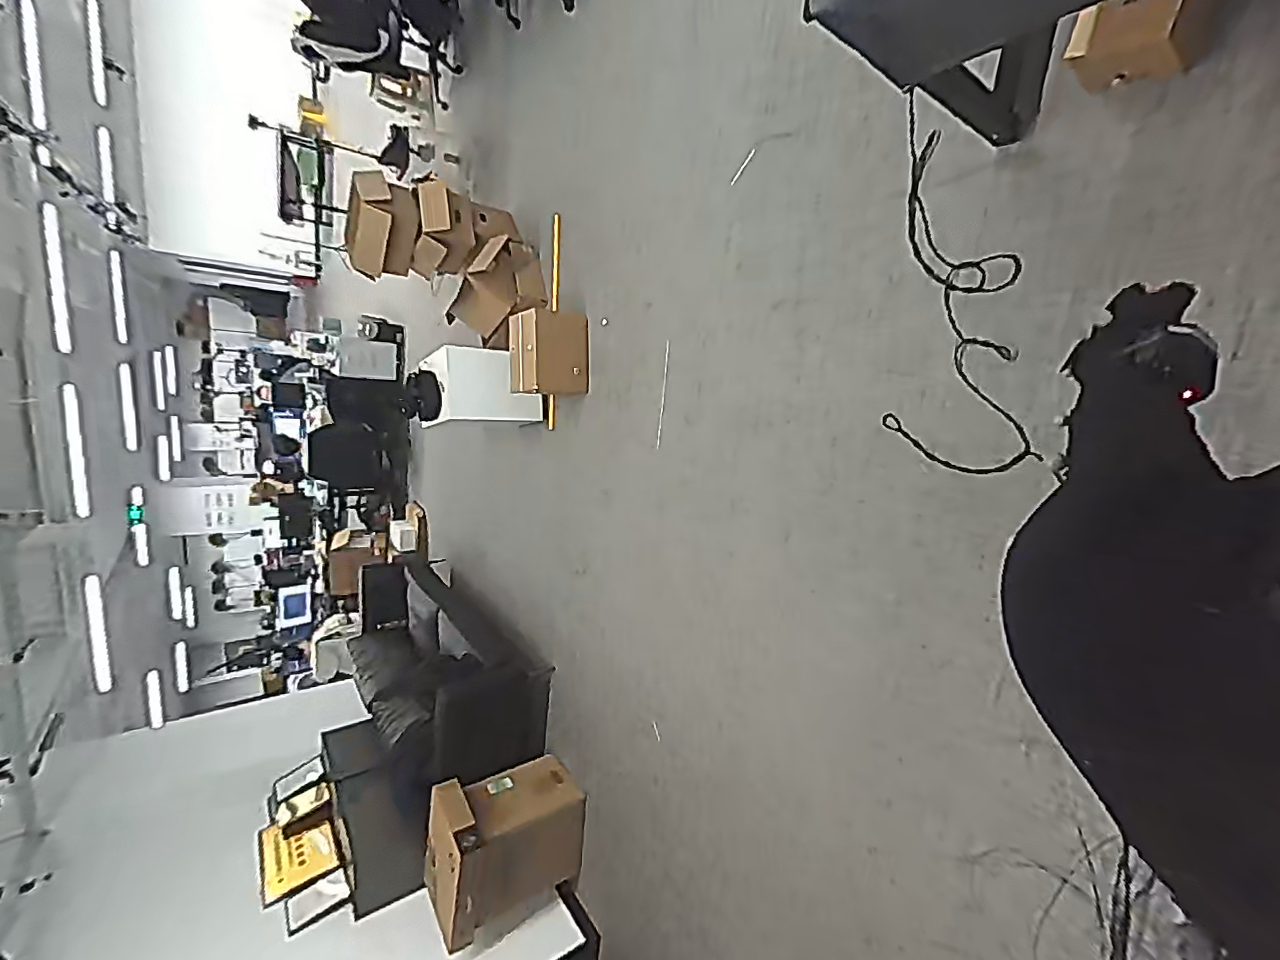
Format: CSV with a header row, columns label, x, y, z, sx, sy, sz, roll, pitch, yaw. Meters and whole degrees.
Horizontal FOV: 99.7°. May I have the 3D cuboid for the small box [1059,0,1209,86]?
label,x,y,z,sx,sy,sz,roll,pitch,yaw
small box,0.964,-0.908,1.046,0.168,0.176,0.179,32,117,48
